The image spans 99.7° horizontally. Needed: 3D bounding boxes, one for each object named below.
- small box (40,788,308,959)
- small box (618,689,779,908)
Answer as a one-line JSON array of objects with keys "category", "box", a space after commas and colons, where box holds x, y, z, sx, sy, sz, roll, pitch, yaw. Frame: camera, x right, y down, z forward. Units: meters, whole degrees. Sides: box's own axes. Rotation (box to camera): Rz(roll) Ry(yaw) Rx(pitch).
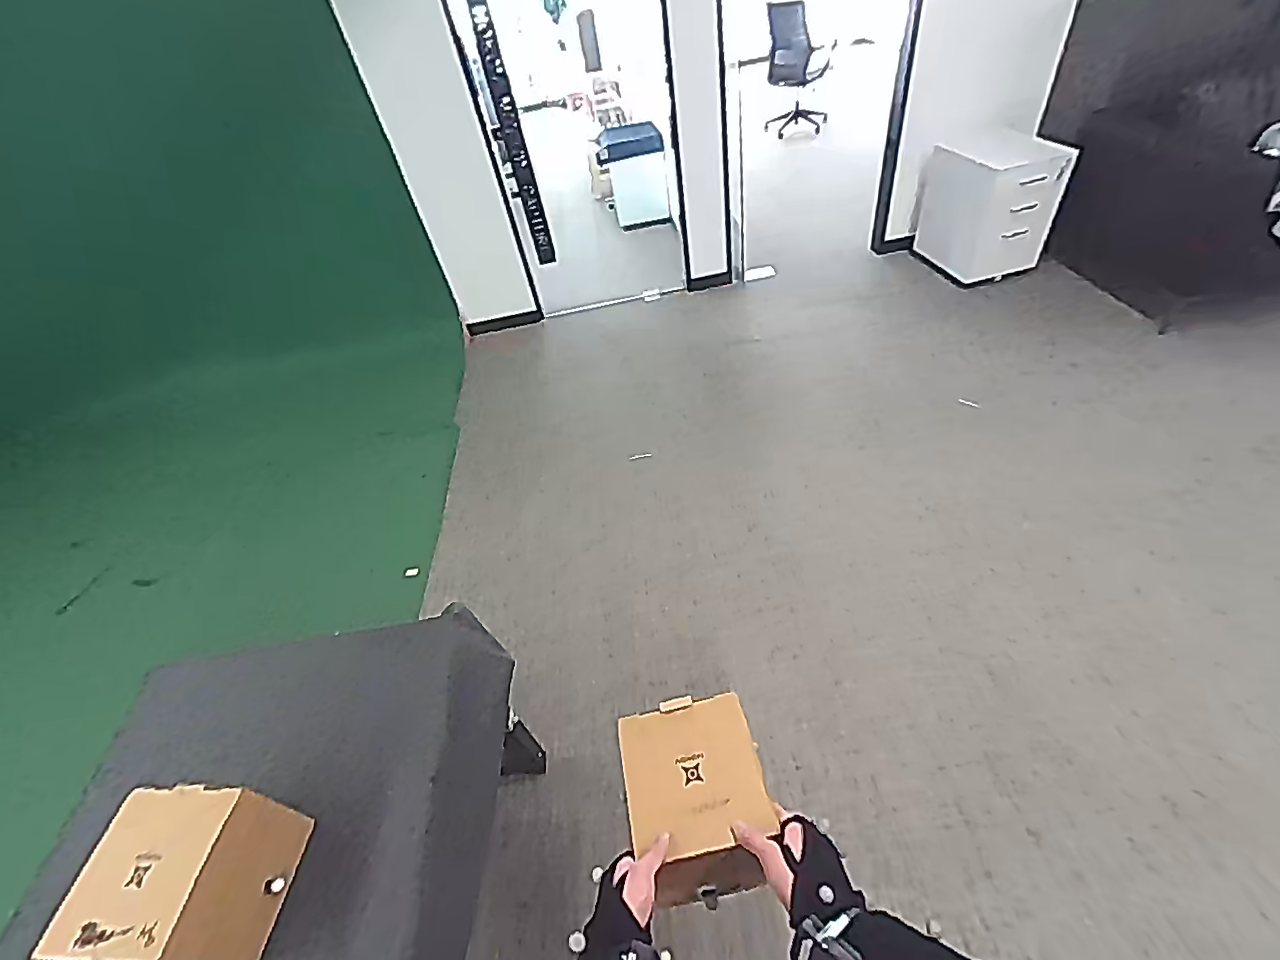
[{"category": "small box", "box": [-0.583, 0.531, 0.714, 0.168, 0.176, 0.179, -4, 44, 8]}, {"category": "small box", "box": [0.072, 0.404, 0.690, 0.168, 0.176, 0.179, -13, 37, 1]}]
